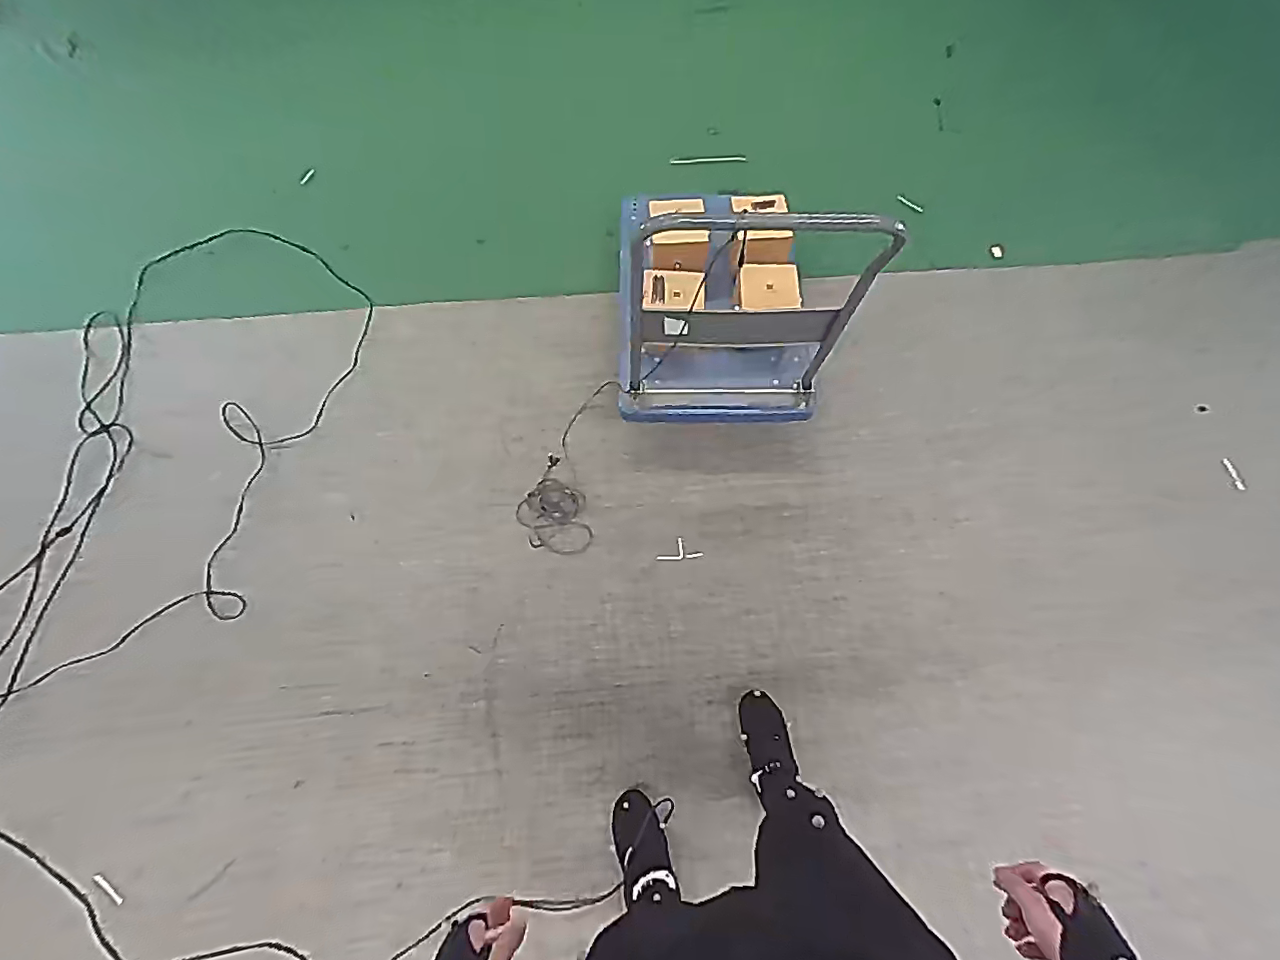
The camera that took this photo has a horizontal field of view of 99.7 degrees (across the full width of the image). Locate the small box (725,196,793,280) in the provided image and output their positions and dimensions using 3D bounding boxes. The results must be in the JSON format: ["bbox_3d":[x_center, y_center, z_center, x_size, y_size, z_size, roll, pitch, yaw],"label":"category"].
[{"bbox_3d":[0.367,-0.757,1.700,0.168,0.176,0.179,-4,68,-1],"label":"small box"}]

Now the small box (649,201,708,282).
[{"bbox_3d":[0.116,-0.740,1.694,0.168,0.176,0.179,-3,68,-2],"label":"small box"}]

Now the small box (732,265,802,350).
[{"bbox_3d":[0.368,-0.507,1.598,0.168,0.176,0.179,1,68,0],"label":"small box"}]
